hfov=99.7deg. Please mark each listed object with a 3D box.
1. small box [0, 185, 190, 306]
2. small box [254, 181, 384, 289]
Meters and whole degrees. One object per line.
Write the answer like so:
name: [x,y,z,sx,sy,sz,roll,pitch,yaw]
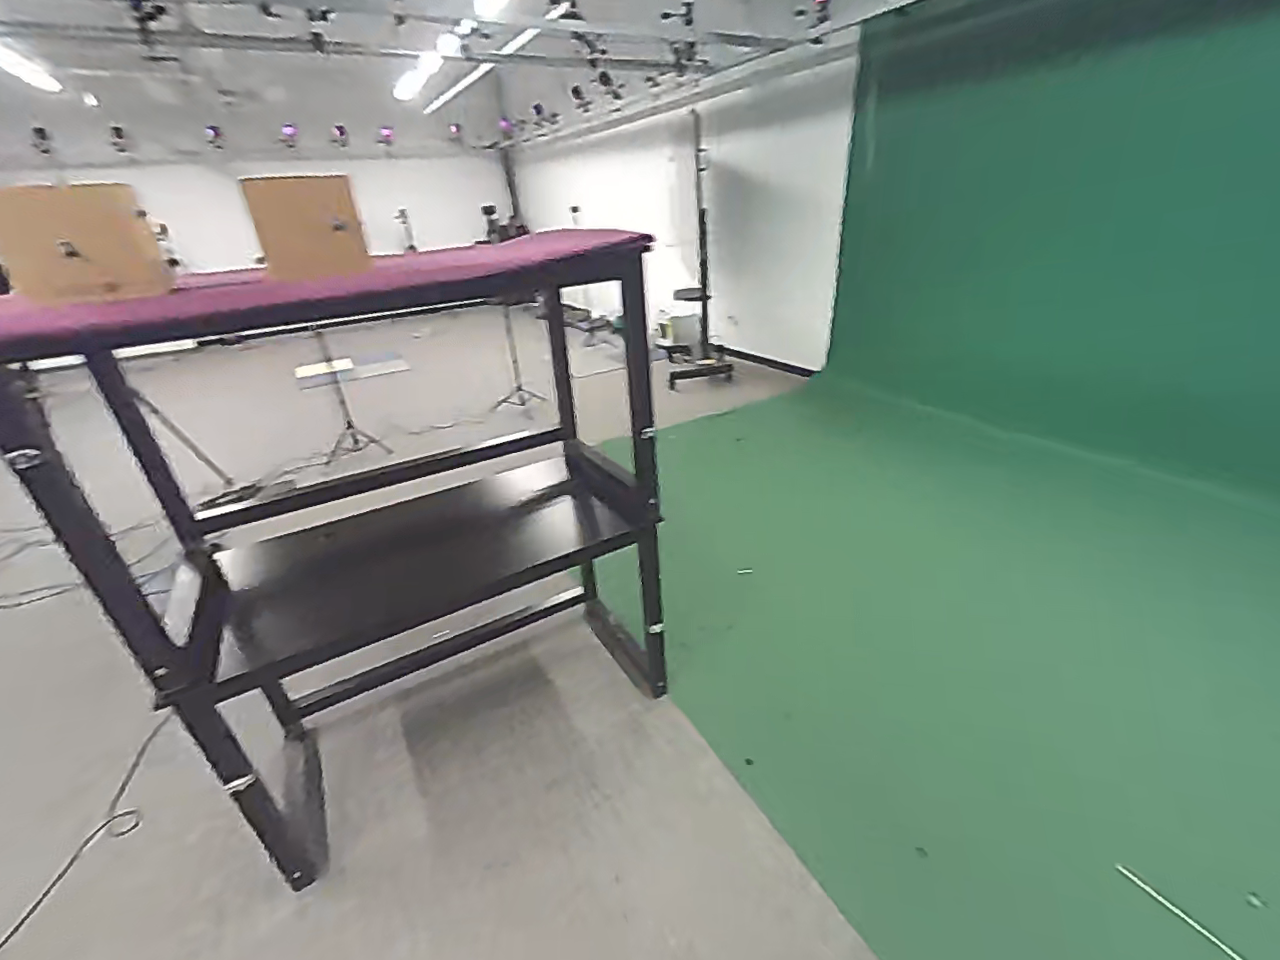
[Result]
small box: [-0.881,-0.386,0.892,0.168,0.176,0.179,-17,29,-27]
small box: [-0.608,-0.471,1.039,0.179,0.176,0.168,-19,30,-26]
